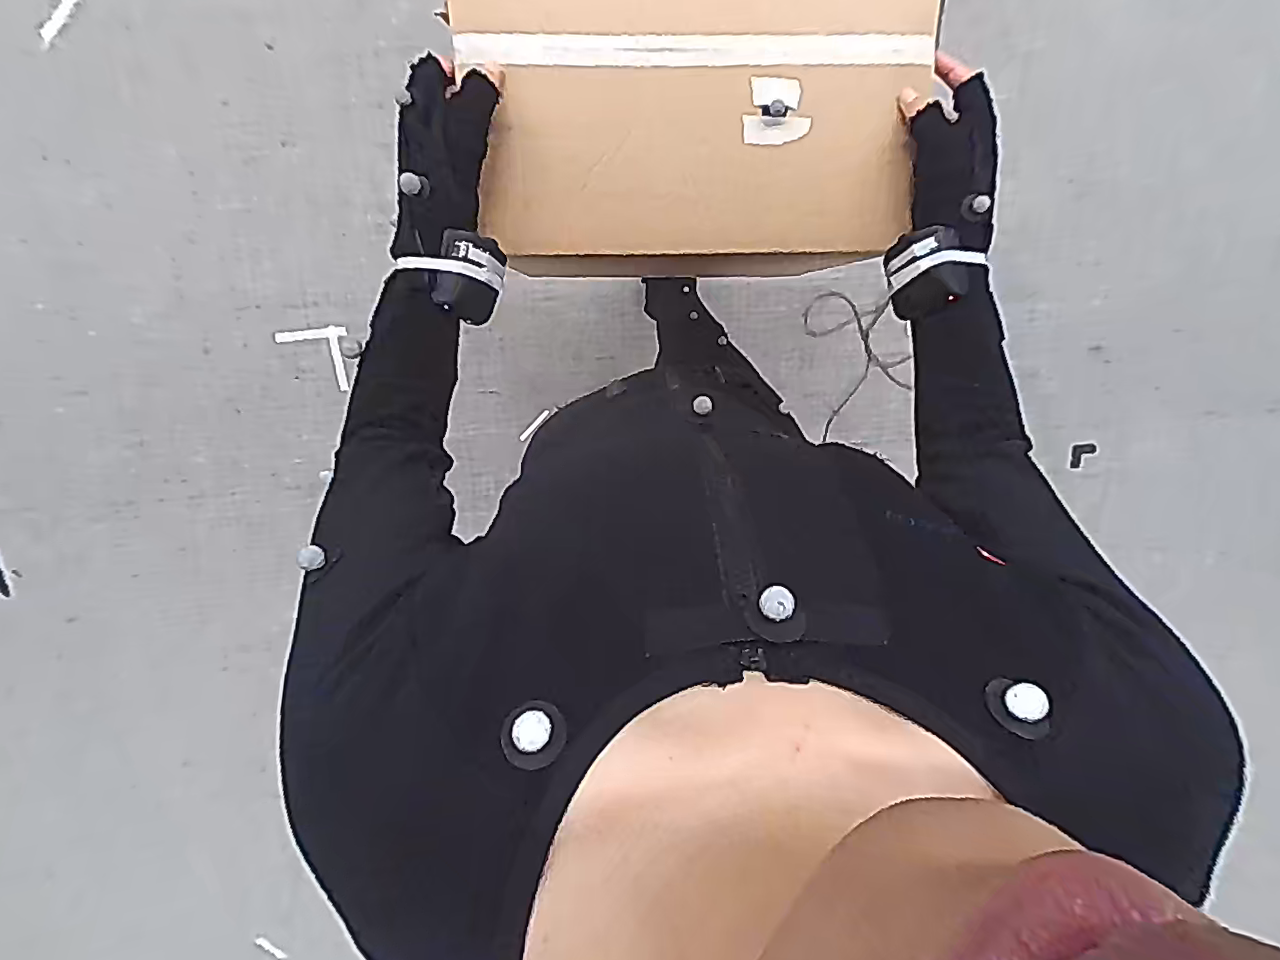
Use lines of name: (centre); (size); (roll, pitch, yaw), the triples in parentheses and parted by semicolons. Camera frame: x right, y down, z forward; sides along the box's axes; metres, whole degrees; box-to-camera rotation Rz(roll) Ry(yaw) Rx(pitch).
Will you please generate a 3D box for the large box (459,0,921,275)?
large box: (0.036, -0.416, 0.613); (0.408, 0.320, 0.320); (-3, 107, -3)
